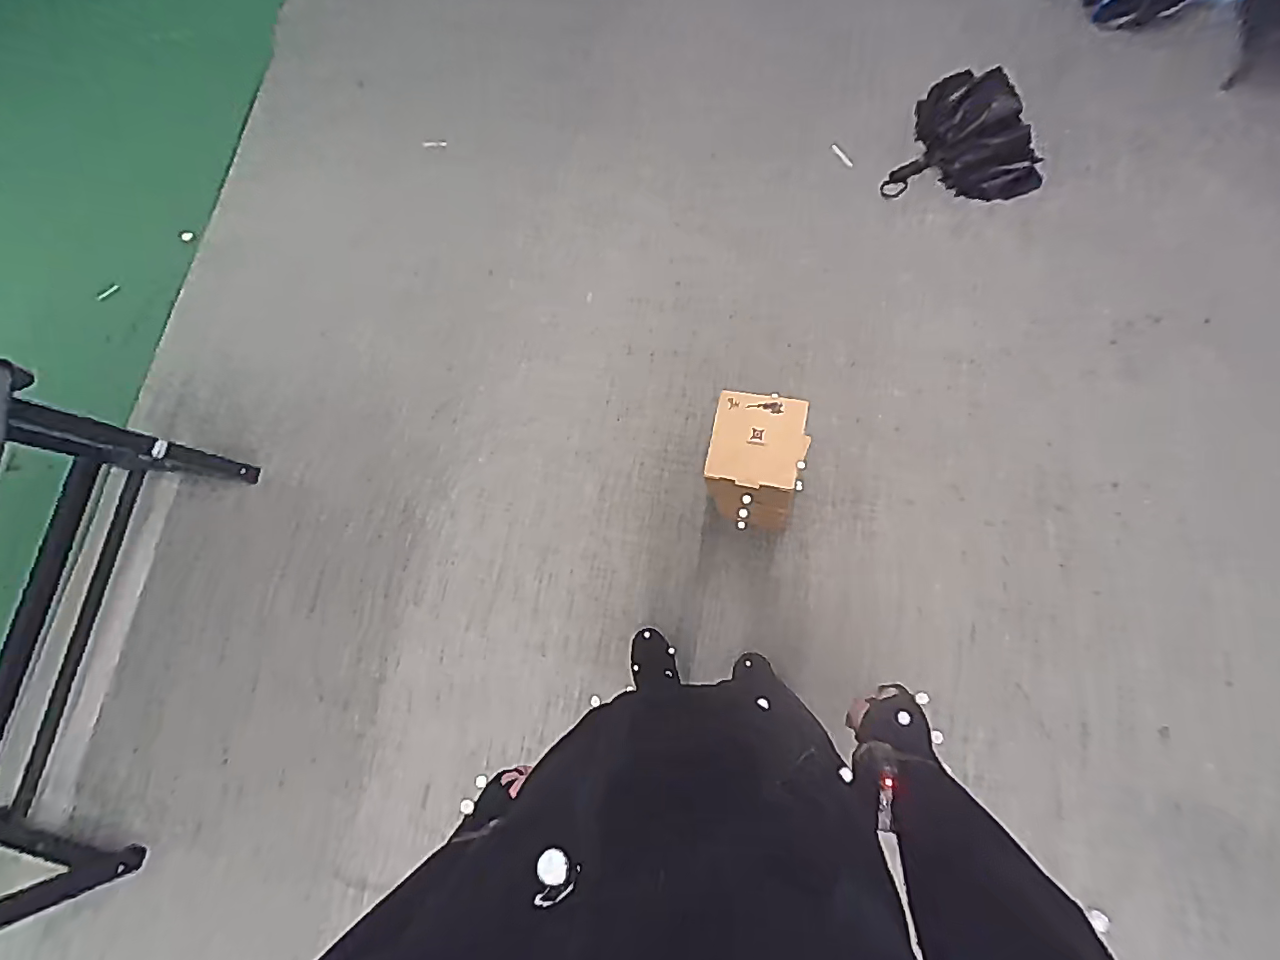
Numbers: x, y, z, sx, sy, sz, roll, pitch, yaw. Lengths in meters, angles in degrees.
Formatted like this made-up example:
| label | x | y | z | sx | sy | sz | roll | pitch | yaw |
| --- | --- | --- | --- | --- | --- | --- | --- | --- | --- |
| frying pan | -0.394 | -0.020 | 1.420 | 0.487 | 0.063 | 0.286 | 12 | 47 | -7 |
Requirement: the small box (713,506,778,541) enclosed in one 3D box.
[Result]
| label | x | y | z | sx | sy | sz | roll | pitch | yaw |
| --- | --- | --- | --- | --- | --- | --- | --- | --- | --- |
| small box | 0.295 | 0.043 | 1.393 | 0.168 | 0.176 | 0.179 | 19 | 81 | 15 |

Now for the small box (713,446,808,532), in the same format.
| label | x | y | z | sx | sy | sz | roll | pitch | yaw |
| --- | --- | --- | --- | --- | --- | --- | --- | --- | --- |
| small box | 0.267 | 0.003 | 1.236 | 0.168 | 0.176 | 0.179 | 20 | 81 | 16 |

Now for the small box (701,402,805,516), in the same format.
| label | x | y | z | sx | sy | sz | roll | pitch | yaw |
| --- | --- | --- | --- | --- | --- | --- | --- | --- | --- |
| small box | 0.227 | -0.035 | 1.083 | 0.168 | 0.176 | 0.179 | 11 | 78 | 14 |
